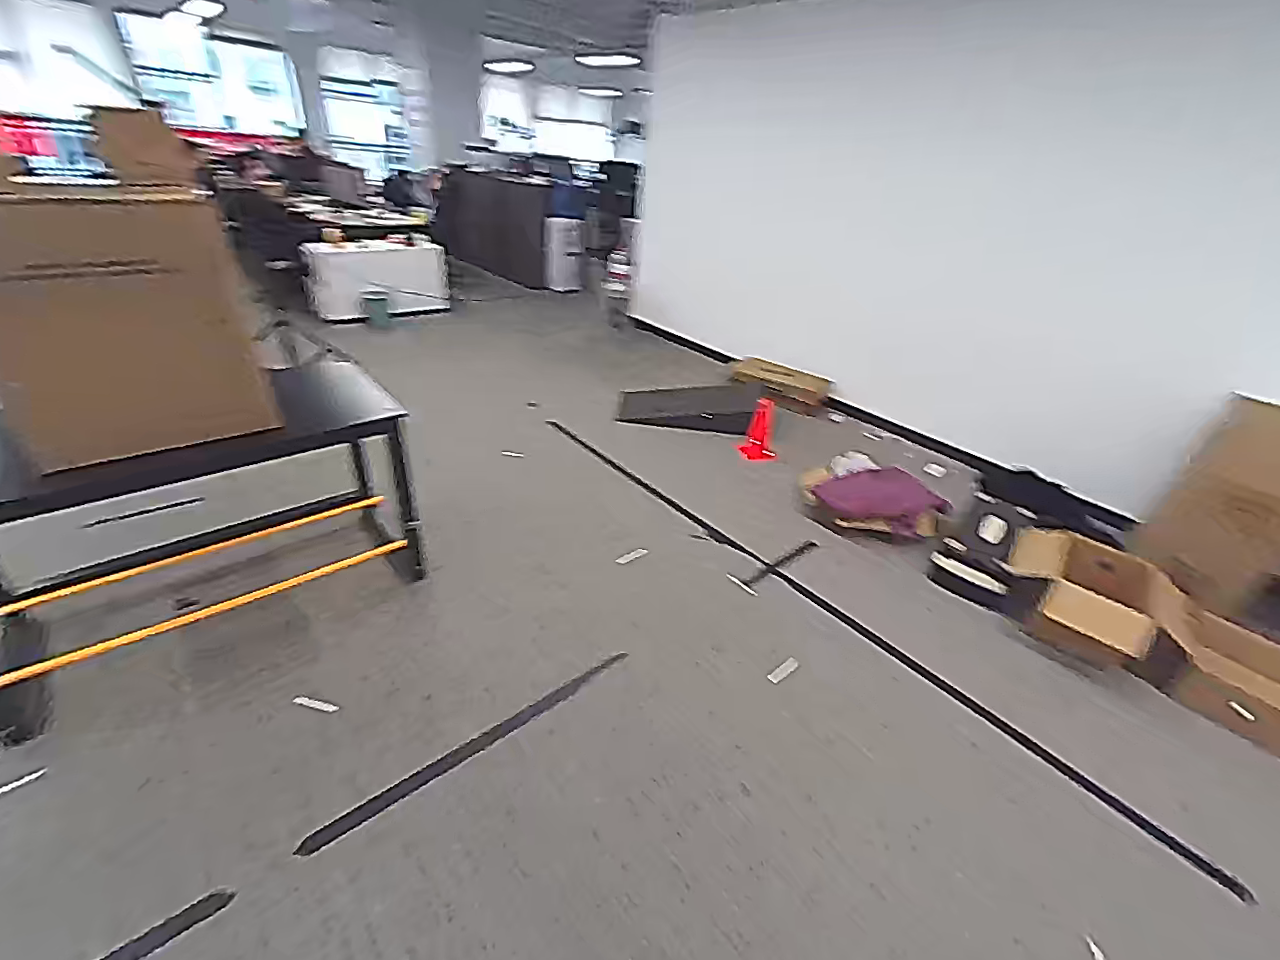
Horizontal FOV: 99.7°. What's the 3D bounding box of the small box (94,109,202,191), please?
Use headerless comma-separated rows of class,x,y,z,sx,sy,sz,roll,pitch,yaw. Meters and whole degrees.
small box,-1.280,-0.857,1.411,0.168,0.176,0.179,-23,39,-36
